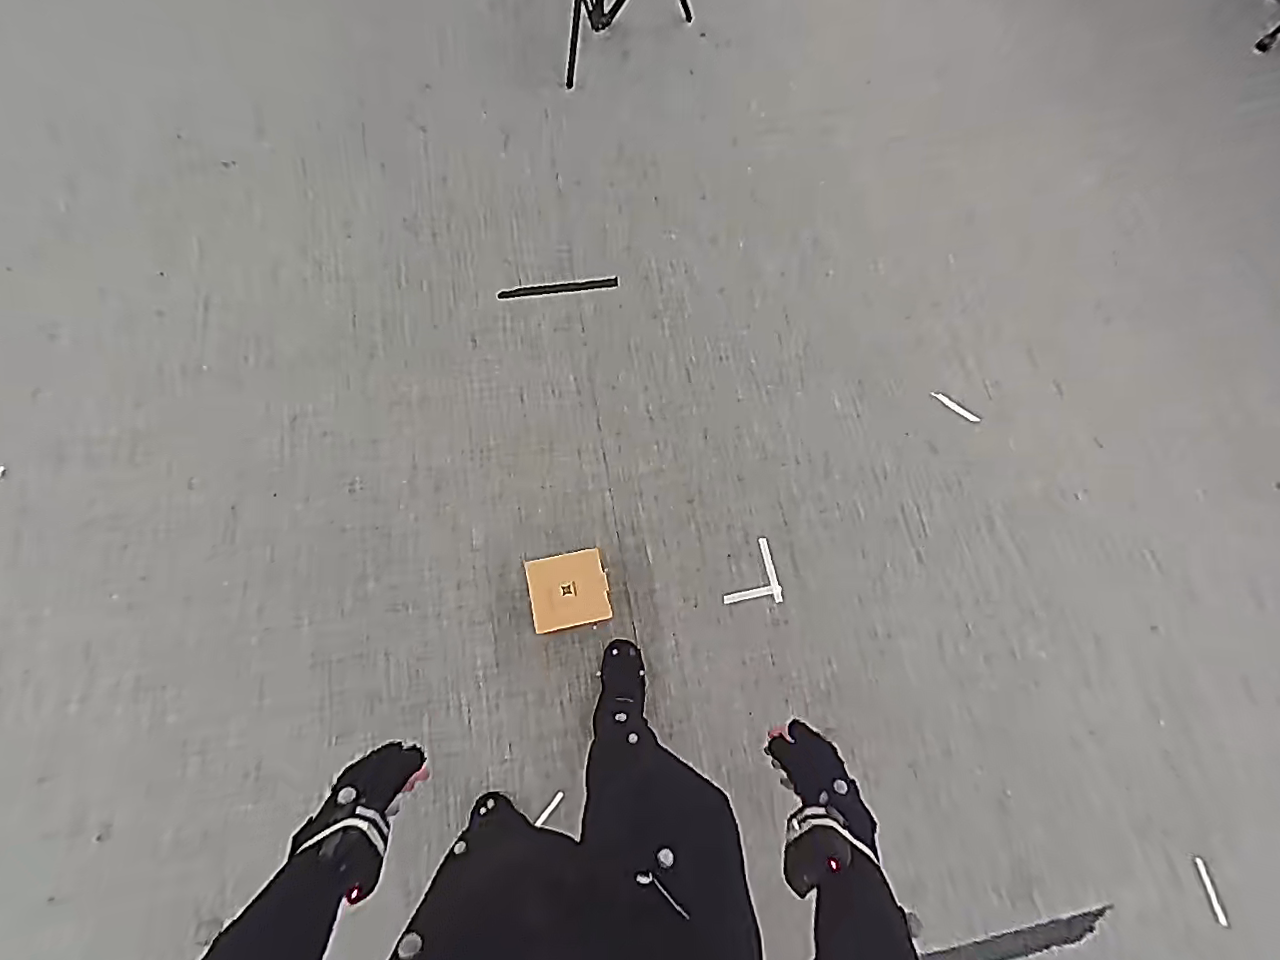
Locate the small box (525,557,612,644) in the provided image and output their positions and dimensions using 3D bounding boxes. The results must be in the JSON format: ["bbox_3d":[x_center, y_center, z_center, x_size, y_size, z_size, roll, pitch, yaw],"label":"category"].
[{"bbox_3d":[-0.172,0.292,1.300,0.179,0.176,0.168,-11,73,-8],"label":"small box"}]
